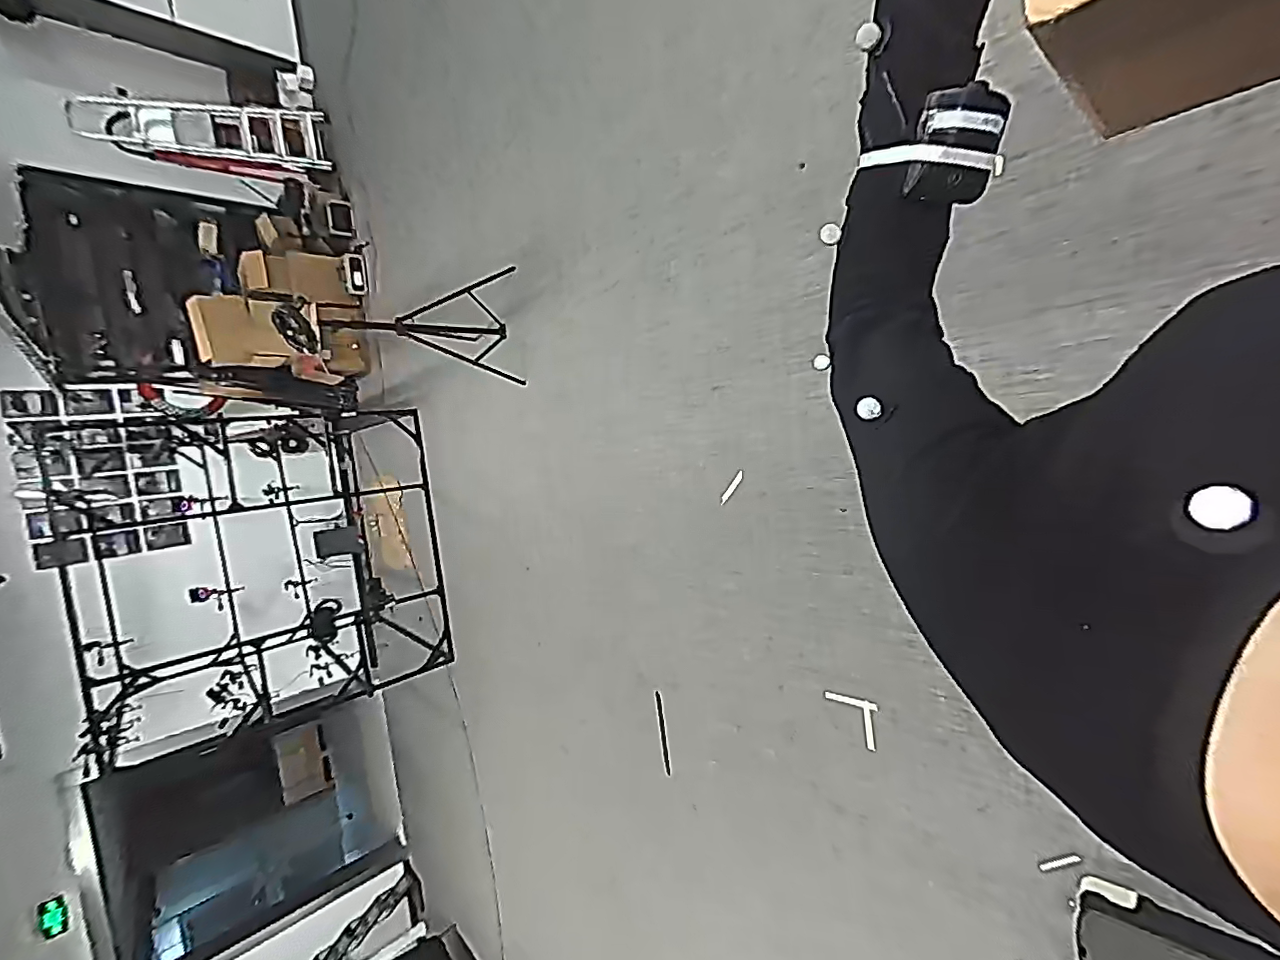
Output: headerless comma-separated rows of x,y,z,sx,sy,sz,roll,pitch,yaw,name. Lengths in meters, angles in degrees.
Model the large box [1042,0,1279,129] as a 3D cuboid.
0.465,-0.466,0.273,0.408,0.320,0.320,-1,101,47,large box
